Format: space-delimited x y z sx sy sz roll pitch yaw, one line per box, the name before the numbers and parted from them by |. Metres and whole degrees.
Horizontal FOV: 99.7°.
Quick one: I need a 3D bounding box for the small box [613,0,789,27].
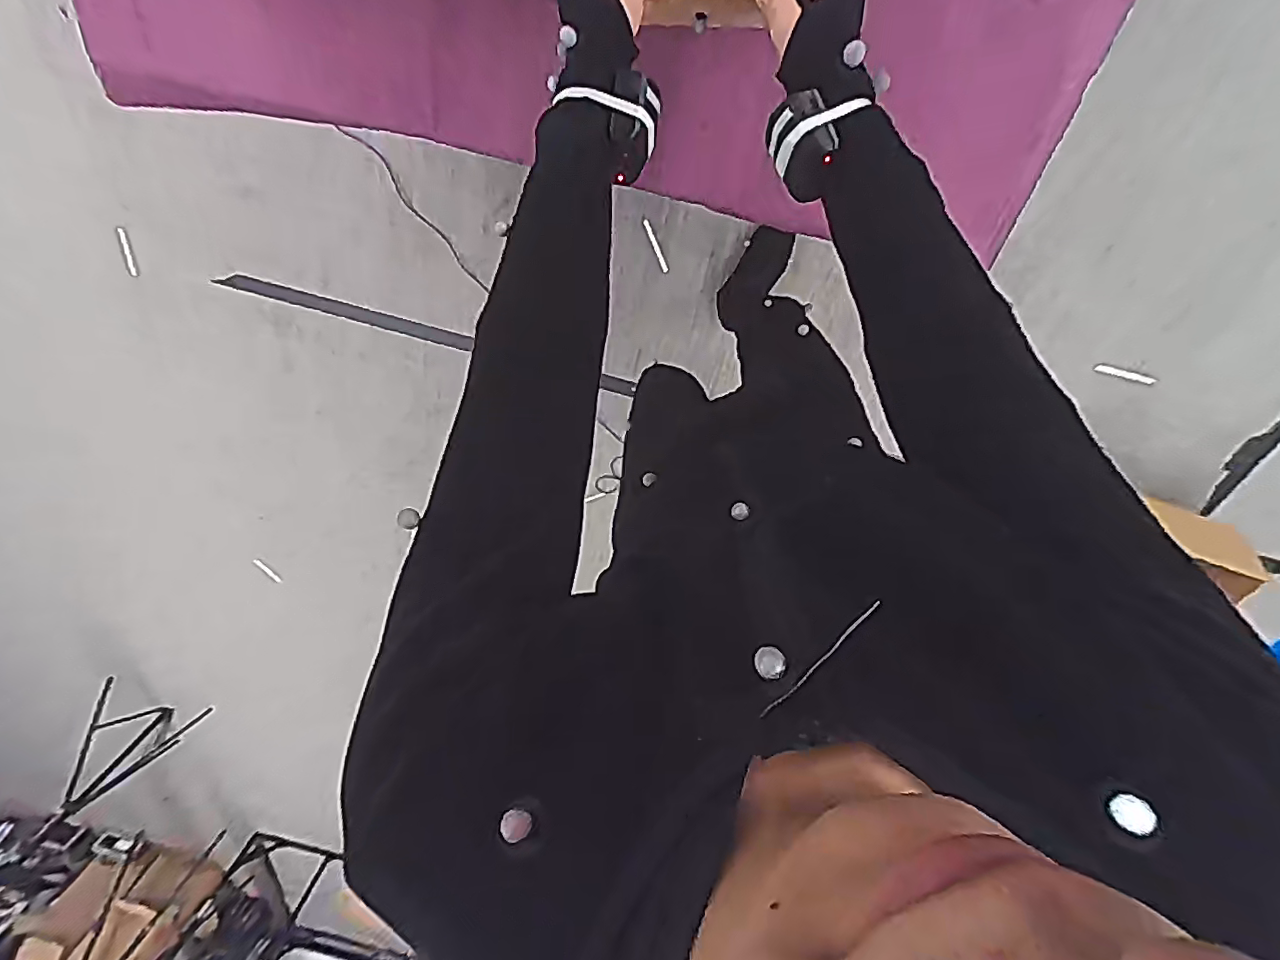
small box | 0.067 -0.533 0.488 0.168 0.176 0.179 6 123 6
